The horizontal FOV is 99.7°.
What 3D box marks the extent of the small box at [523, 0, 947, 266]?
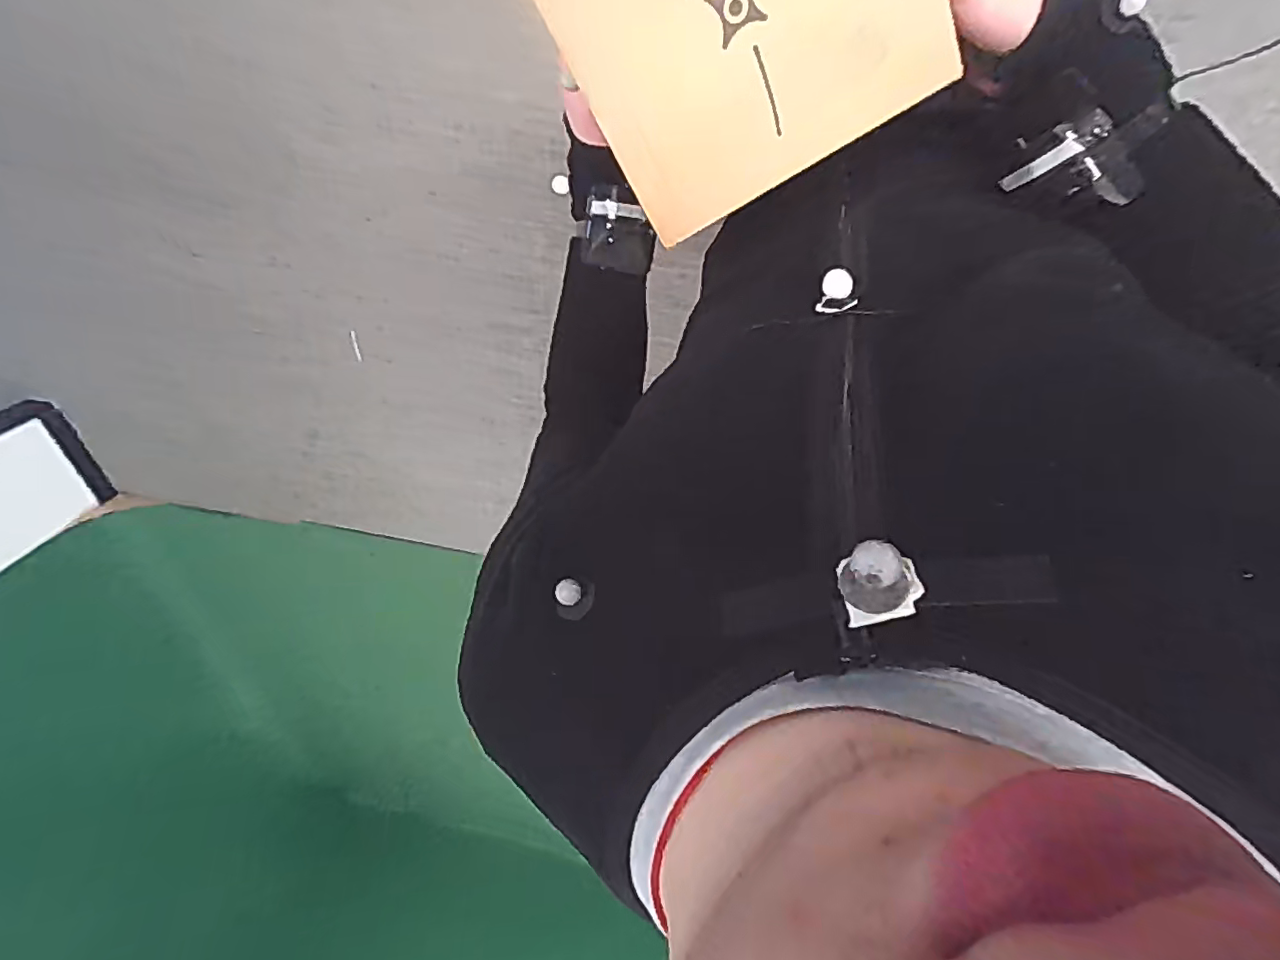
[{"bbox_3d":[0.047,-0.262,0.320,0.168,0.176,0.179,-23,120,21],"label":"small box"}]
